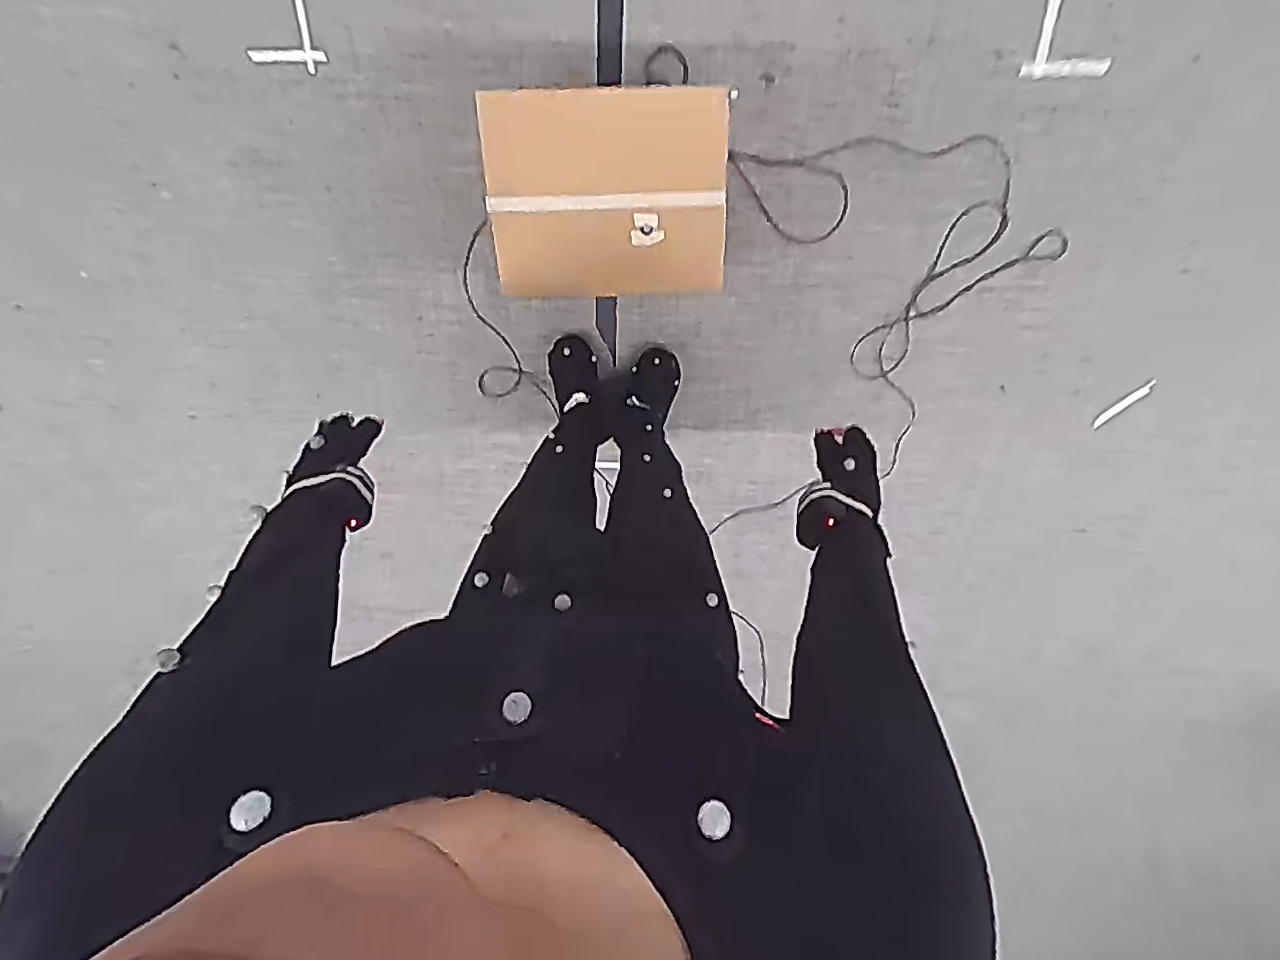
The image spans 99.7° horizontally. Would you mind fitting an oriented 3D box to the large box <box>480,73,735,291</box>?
[{"bbox_3d":[-0.050,-0.551,1.035,0.408,0.320,0.320,-1,118,0],"label":"large box"}]
